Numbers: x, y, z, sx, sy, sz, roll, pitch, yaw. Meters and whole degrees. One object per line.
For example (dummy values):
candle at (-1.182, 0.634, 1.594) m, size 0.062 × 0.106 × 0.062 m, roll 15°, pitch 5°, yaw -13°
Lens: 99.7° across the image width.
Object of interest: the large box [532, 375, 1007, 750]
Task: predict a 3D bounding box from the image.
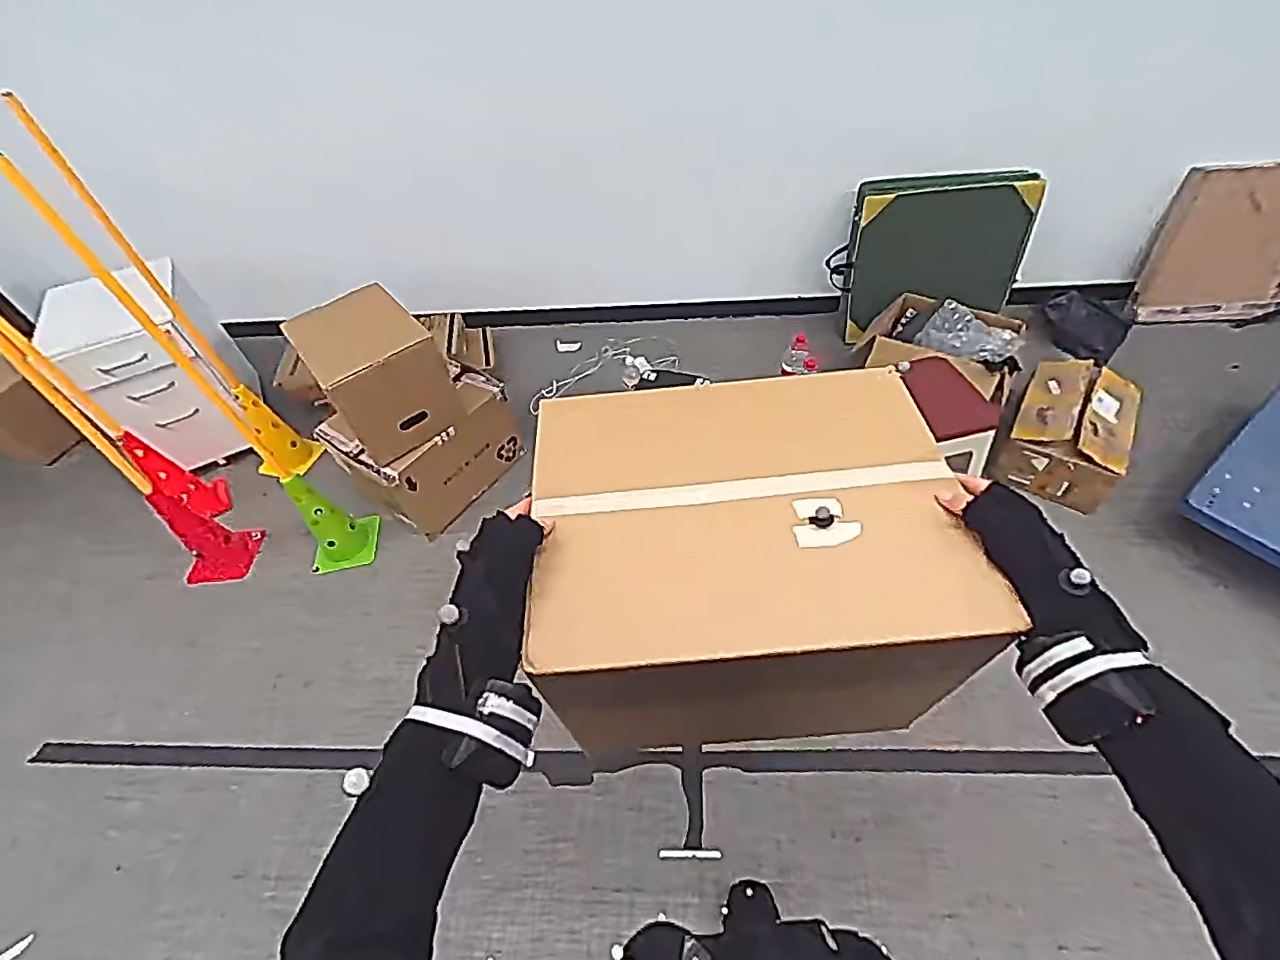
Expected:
large box at (0.105, 0.109, 0.651) m, size 0.408 × 0.320 × 0.320 m, roll -5°, pitch 52°, yaw 1°
